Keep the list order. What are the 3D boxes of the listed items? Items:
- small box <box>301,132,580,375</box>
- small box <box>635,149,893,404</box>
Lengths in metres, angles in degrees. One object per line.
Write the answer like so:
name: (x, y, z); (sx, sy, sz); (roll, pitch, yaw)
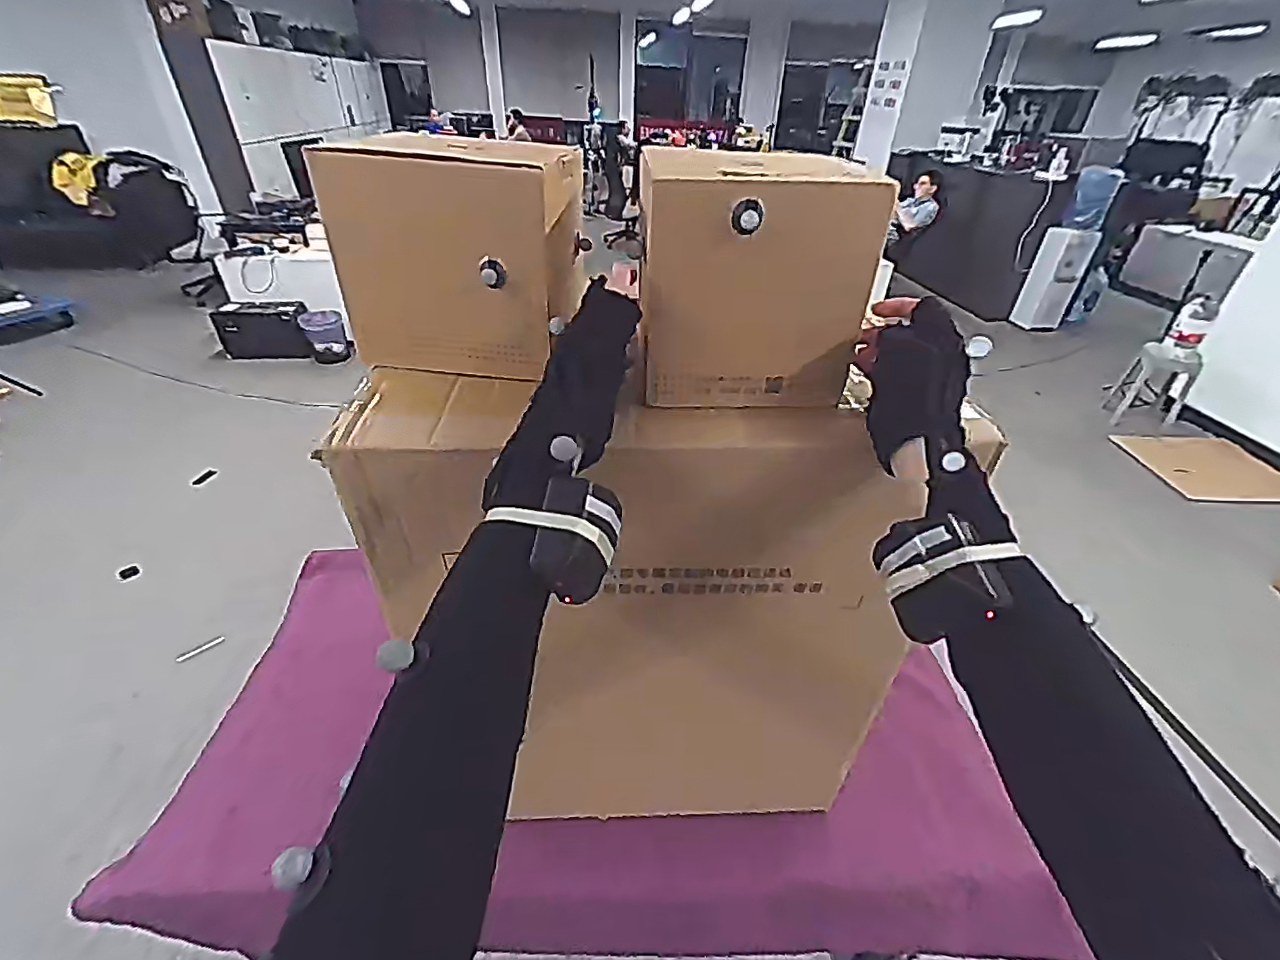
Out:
small box: (-0.152, -0.206, 0.490); (0.179, 0.176, 0.168); (4, 35, 2)
small box: (0.081, -0.179, 0.466); (0.168, 0.176, 0.179); (-1, 36, -2)
